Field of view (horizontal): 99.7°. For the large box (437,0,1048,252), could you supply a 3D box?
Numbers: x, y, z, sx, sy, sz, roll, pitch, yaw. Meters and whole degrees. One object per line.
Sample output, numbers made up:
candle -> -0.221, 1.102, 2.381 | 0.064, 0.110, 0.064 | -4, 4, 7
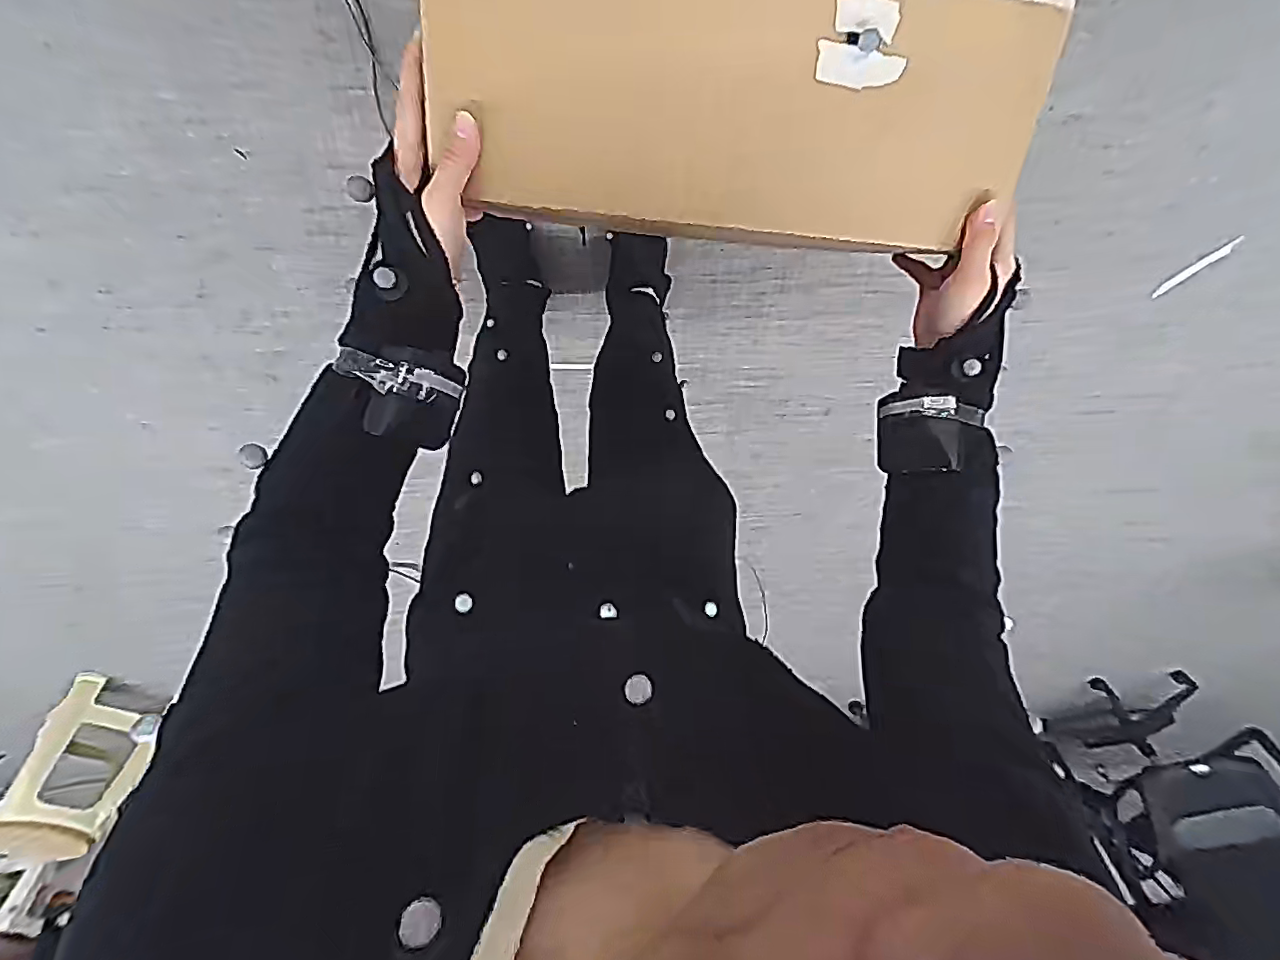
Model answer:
large box -> 0.057, -0.381, 0.471 | 0.408, 0.320, 0.320 | 2, 113, -9
